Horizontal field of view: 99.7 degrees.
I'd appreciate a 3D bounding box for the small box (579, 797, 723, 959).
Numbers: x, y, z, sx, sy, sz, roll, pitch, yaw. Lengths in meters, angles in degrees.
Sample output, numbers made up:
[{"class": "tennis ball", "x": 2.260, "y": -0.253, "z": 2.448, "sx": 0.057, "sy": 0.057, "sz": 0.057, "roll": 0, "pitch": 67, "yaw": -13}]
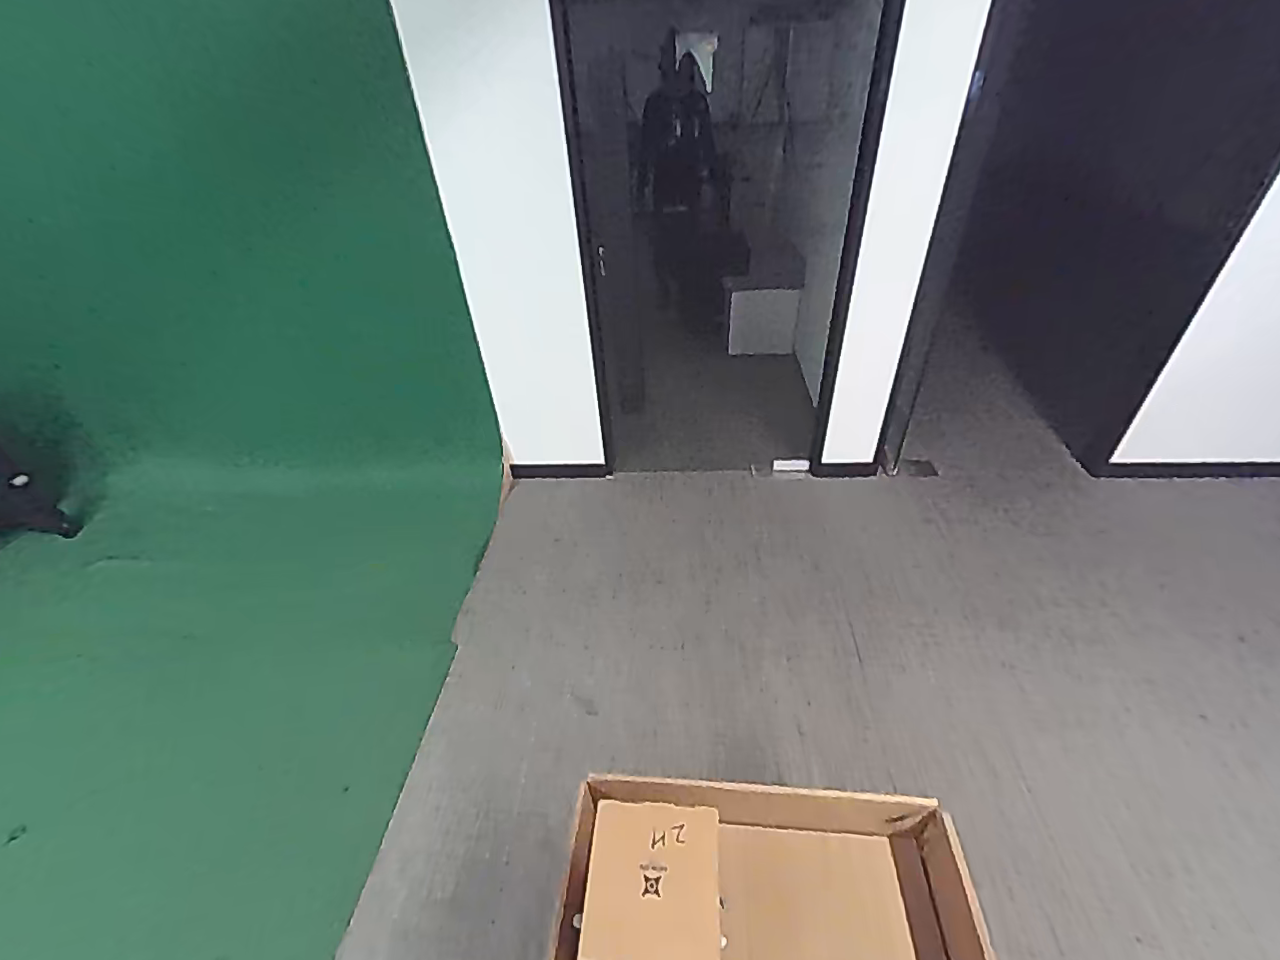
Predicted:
[{"class": "small box", "x": 0.026, "y": 0.552, "z": 0.714, "sx": 0.168, "sy": 0.176, "sz": 0.179, "roll": 0, "pitch": 38, "yaw": 7}]
